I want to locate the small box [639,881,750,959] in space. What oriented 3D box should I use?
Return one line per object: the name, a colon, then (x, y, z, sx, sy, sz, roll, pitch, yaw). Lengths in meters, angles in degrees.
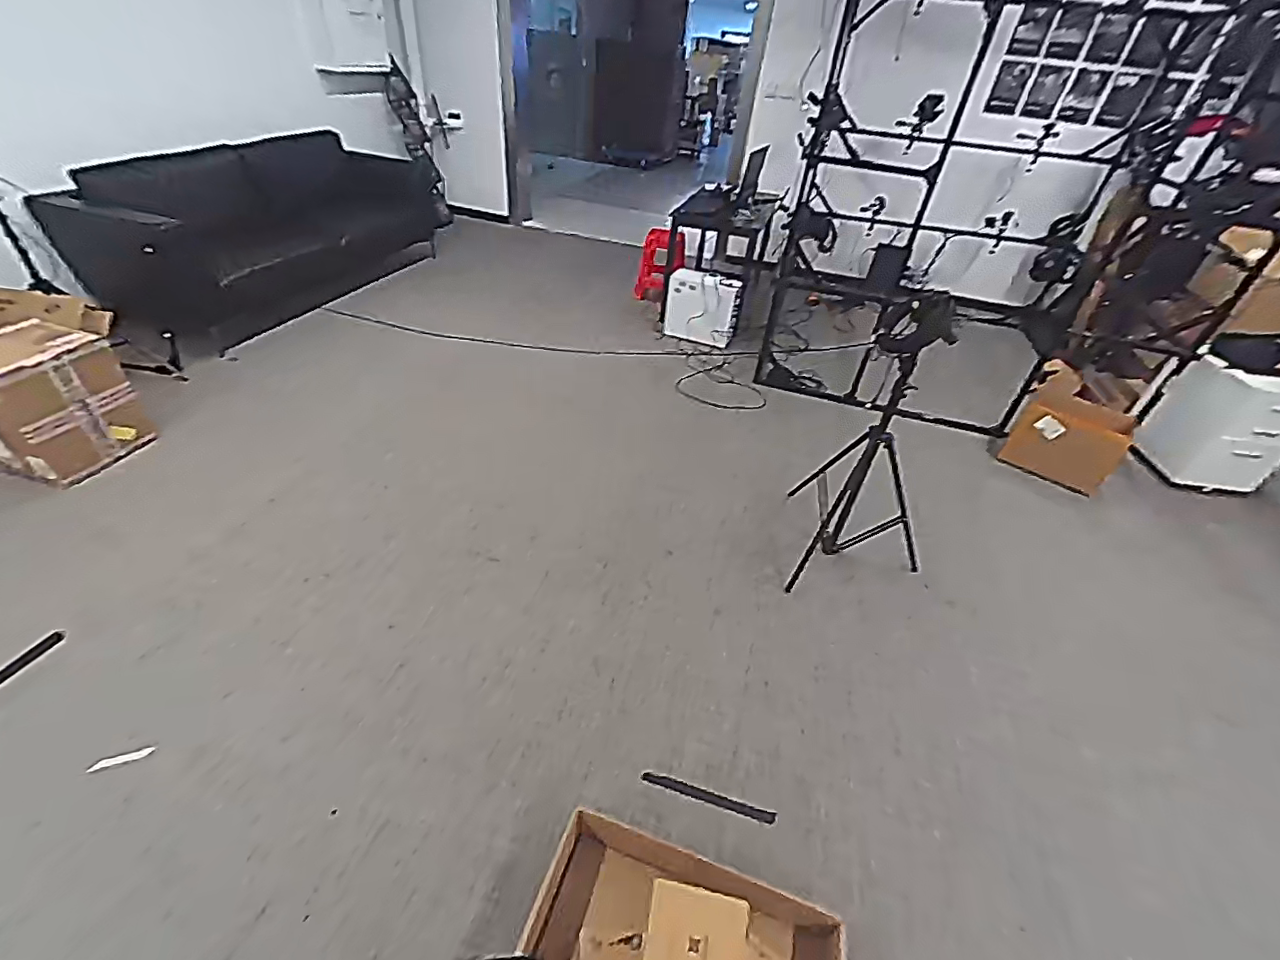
small box: (0.090, 0.854, 0.958, 0.179, 0.176, 0.168, 10, 37, 6)
